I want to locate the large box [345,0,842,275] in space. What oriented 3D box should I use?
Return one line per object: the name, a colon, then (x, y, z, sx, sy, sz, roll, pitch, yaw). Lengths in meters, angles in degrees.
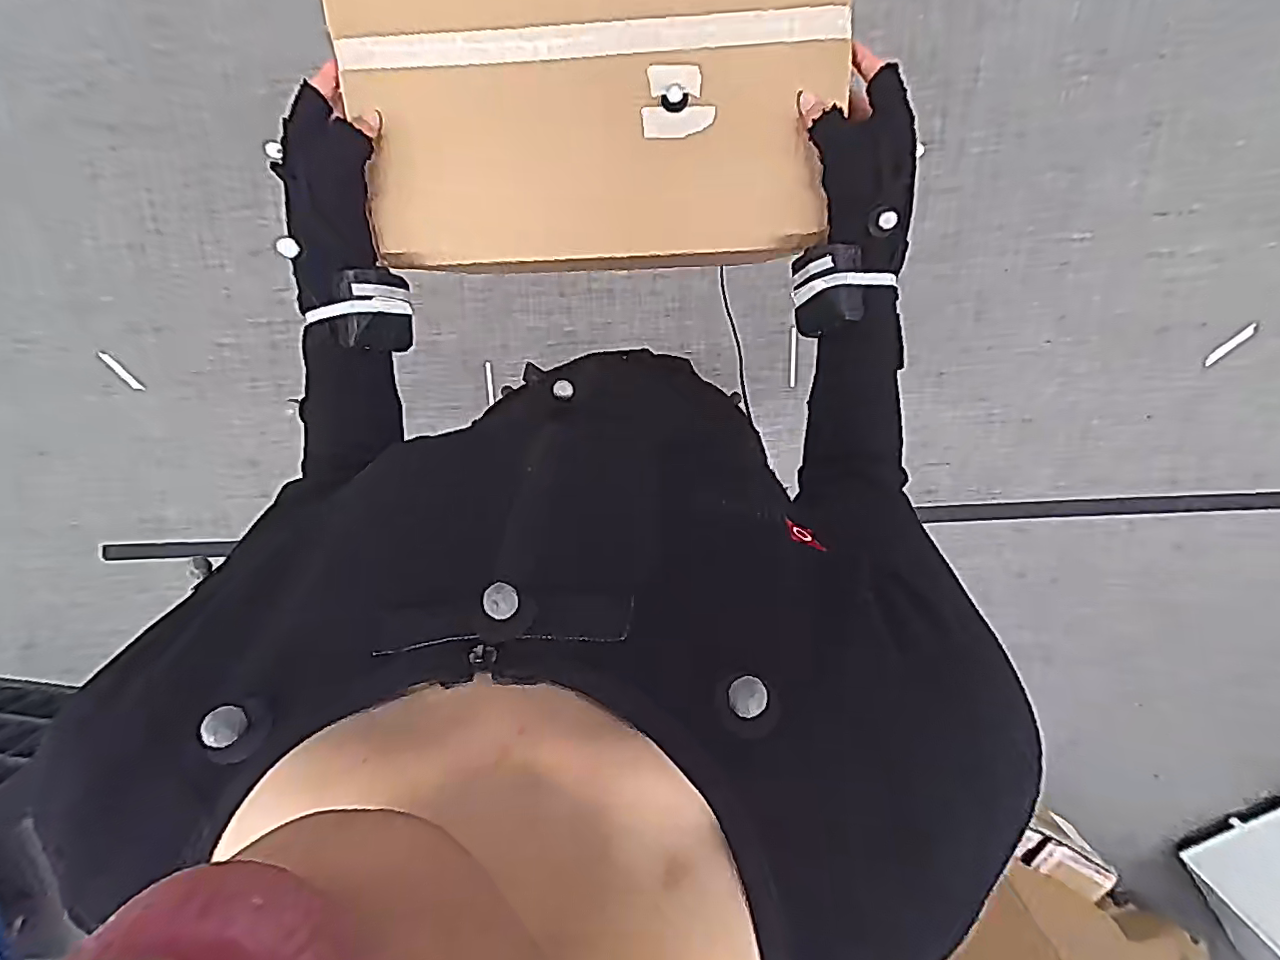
large box: (-0.036, -0.400, 0.579, 0.408, 0.320, 0.320, -2, 109, 2)
